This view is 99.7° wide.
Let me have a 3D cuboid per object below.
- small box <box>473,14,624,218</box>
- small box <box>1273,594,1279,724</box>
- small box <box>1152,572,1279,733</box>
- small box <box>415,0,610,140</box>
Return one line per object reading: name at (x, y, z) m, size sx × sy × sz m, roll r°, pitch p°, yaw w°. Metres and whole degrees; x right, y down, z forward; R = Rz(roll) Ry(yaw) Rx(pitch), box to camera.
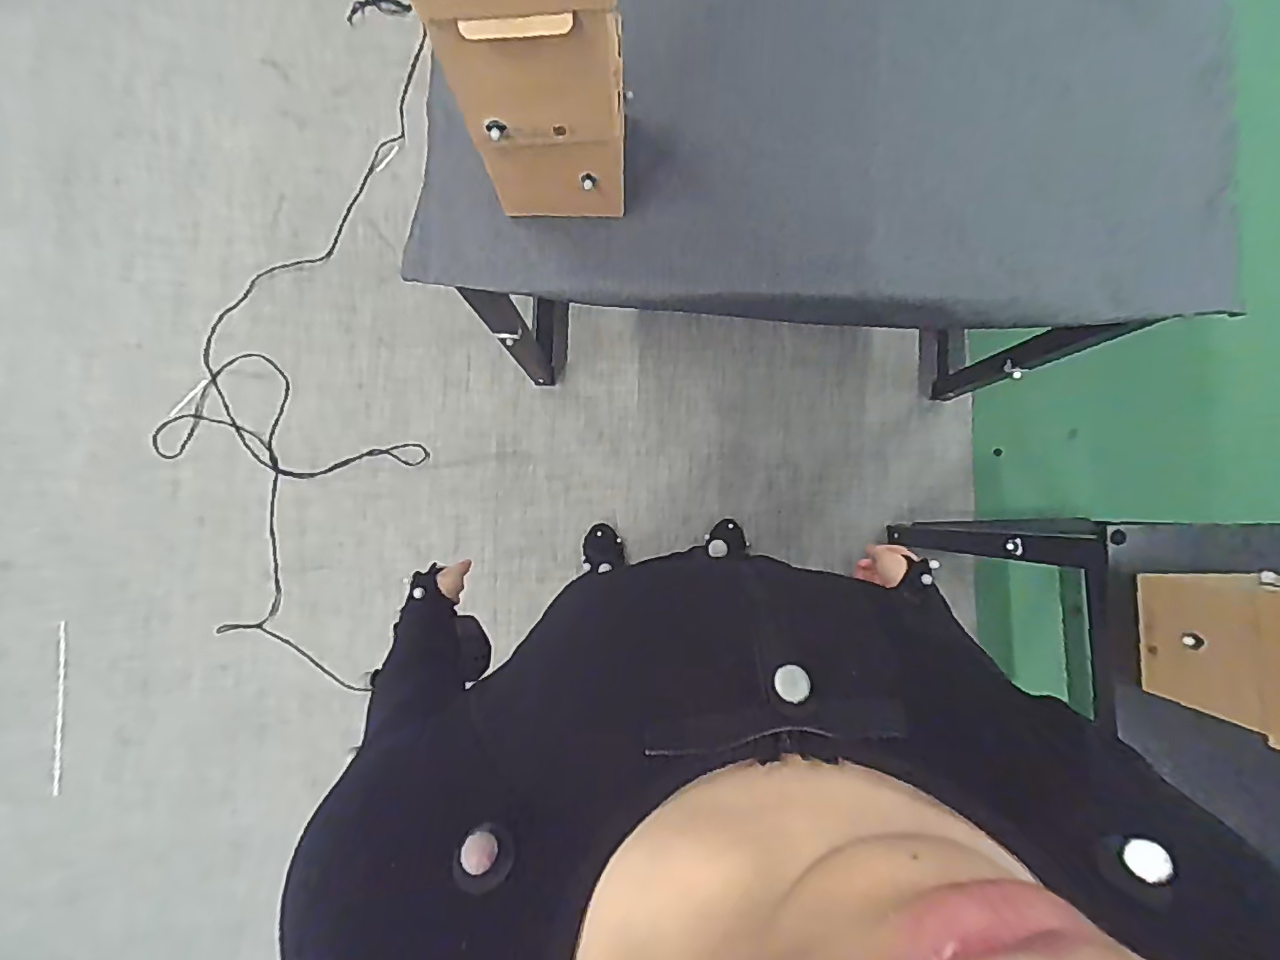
small box at (-0.111, -0.475, 0.728) m, size 0.179 × 0.176 × 0.168 m, roll 0°, pitch 84°, yaw 1°
small box at (0.775, 0.206, 0.512) m, size 0.168 × 0.176 × 0.179 m, roll 0°, pitch 87°, yaw 1°
small box at (0.794, 0.209, 0.674) m, size 0.179 × 0.176 × 0.168 m, roll 0°, pitch 88°, yaw 0°
small box at (-0.122, -0.487, 0.563) m, size 0.168 × 0.176 × 0.179 m, roll -4°, pitch 84°, yaw -1°
